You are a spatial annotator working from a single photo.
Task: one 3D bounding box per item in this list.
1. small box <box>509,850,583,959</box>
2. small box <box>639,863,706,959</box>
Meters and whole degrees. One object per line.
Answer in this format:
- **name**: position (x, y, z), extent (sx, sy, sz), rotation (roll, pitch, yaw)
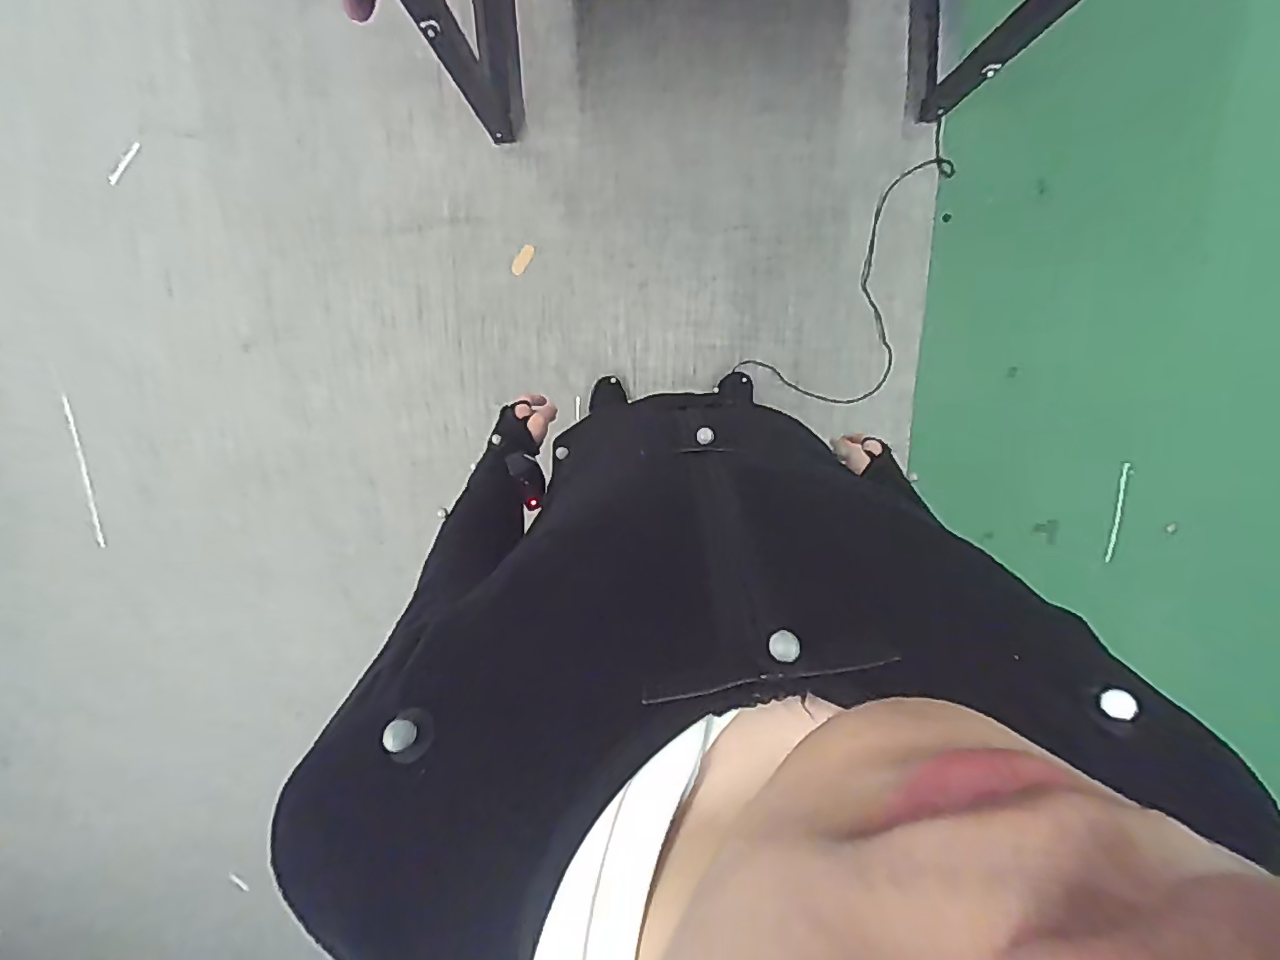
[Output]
- **small box**: position (-0.244, 1.127, 1.444), extent (0.179, 0.176, 0.168), rotation (0, 100, -1)
- **small box**: position (0.094, 1.308, 1.642), extent (0.179, 0.176, 0.168), rotation (7, 102, -1)
